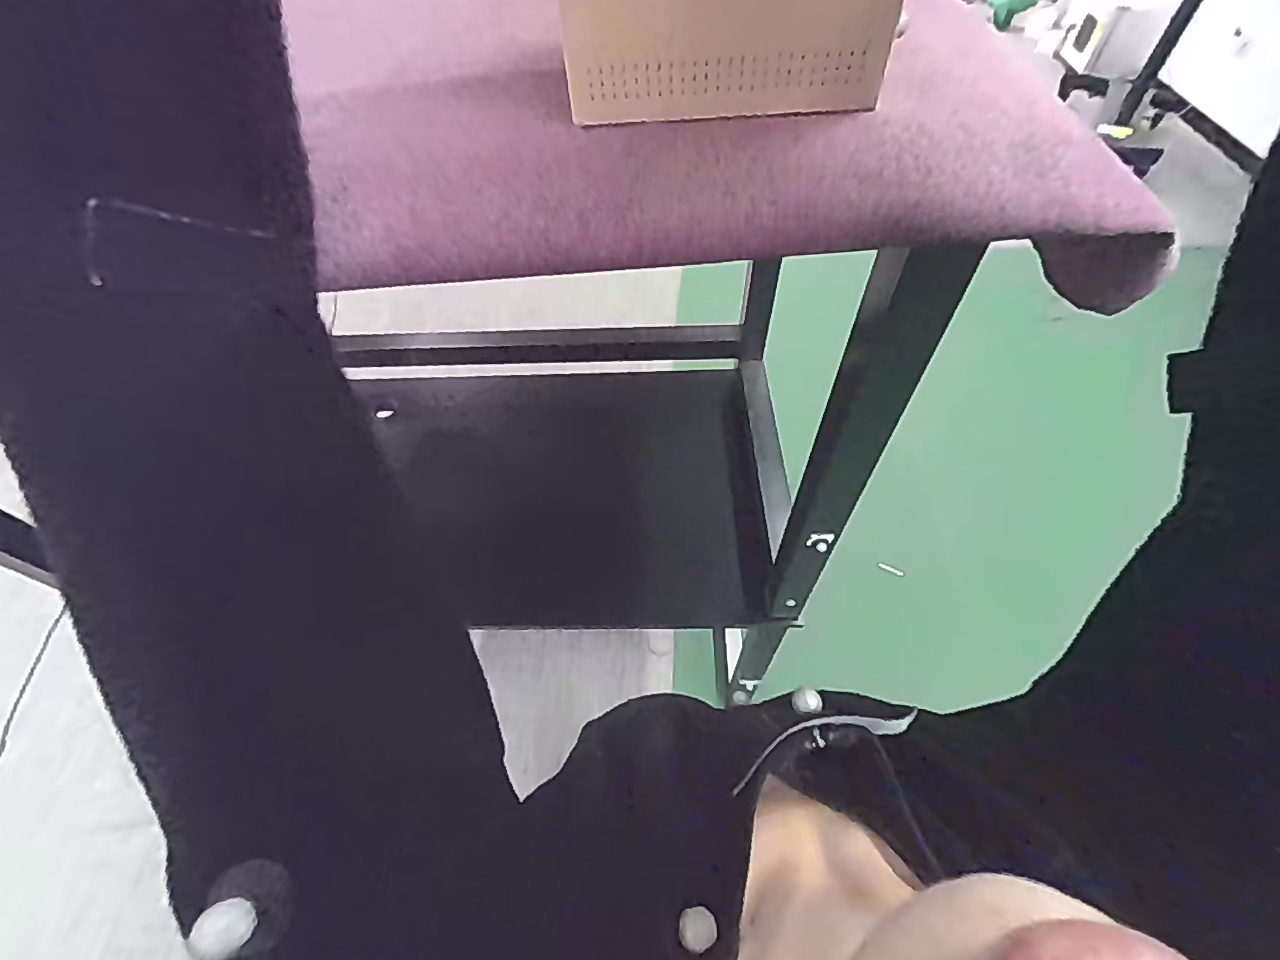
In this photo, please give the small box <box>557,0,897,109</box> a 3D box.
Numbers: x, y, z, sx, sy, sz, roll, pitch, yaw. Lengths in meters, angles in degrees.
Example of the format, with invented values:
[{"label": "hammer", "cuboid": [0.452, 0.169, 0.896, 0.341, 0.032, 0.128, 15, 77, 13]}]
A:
[{"label": "small box", "cuboid": [0.045, -0.322, 0.280, 0.179, 0.176, 0.168, -1, 55, 4]}]
